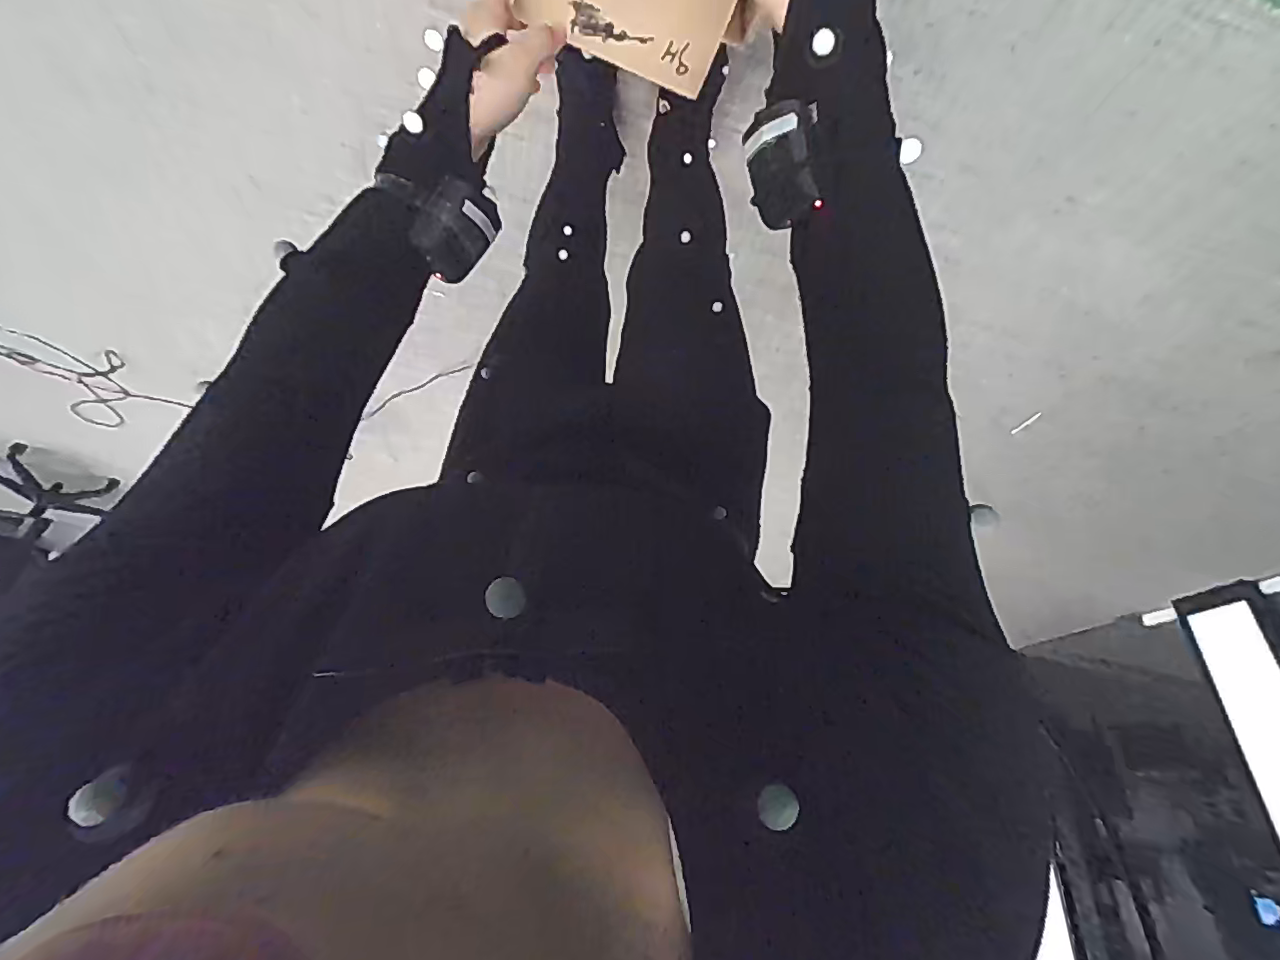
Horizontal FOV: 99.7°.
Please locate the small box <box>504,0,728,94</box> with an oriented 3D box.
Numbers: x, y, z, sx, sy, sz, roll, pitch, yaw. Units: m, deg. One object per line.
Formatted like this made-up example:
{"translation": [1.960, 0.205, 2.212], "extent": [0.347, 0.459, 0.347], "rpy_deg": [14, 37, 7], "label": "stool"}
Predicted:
{"translation": [0.003, -0.460, 0.415], "extent": [0.168, 0.176, 0.179], "rpy_deg": [15, 151, -14], "label": "small box"}
